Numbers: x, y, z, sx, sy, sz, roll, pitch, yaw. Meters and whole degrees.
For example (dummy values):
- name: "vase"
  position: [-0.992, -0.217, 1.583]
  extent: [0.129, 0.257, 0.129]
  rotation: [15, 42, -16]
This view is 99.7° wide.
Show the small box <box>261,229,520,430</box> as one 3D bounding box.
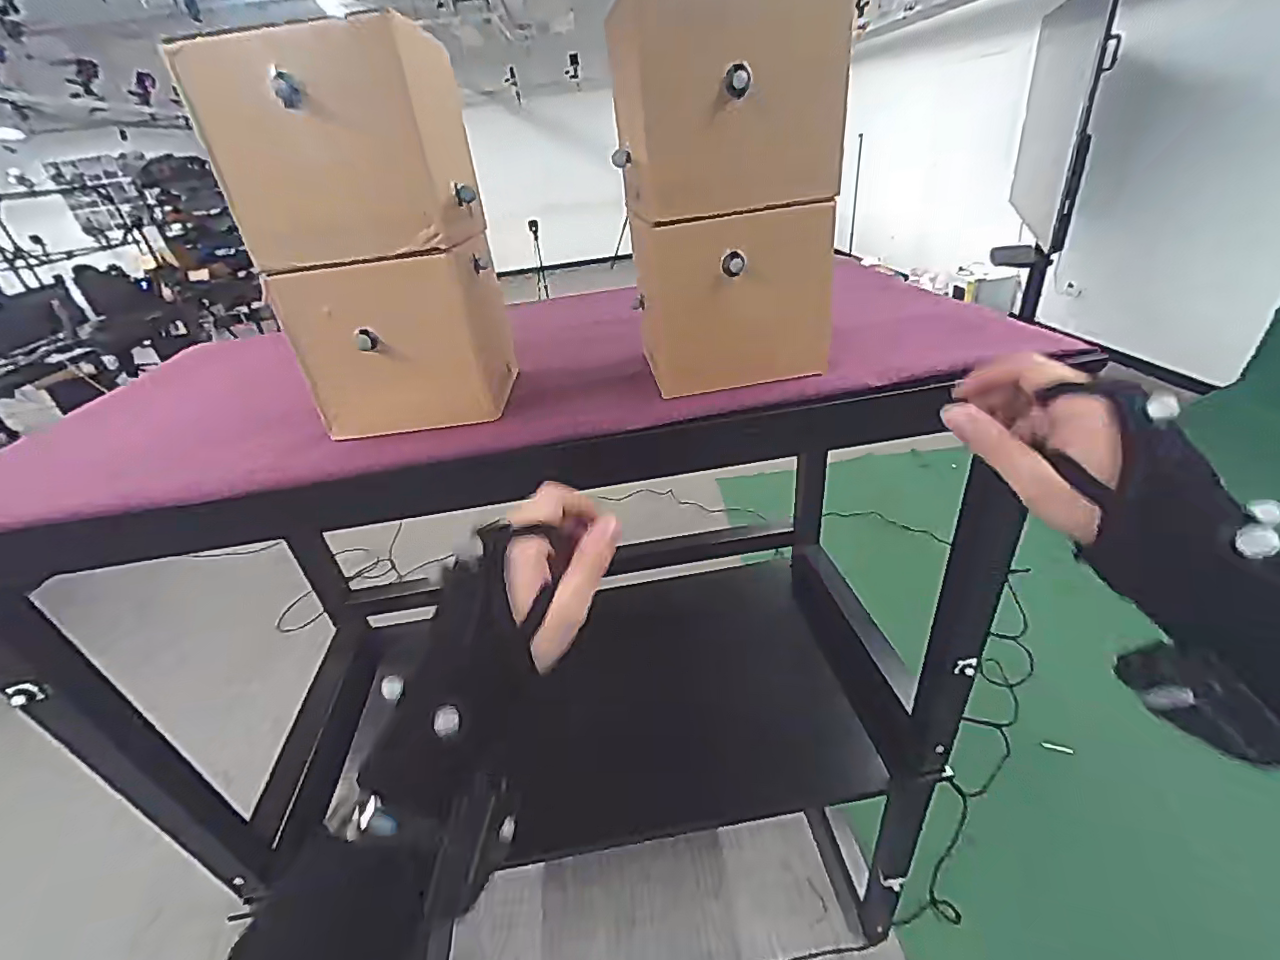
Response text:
- name: "small box"
  position: [-0.244, -0.165, 0.583]
  extent: [0.179, 0.176, 0.168]
  rotation: [-8, 31, 1]

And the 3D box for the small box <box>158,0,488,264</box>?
- name: "small box"
  position: [-0.261, -0.305, 0.500]
  extent: [0.179, 0.176, 0.168]
  rotation: [-6, 31, 2]

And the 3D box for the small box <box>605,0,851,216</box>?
- name: "small box"
  position: [0.071, -0.351, 0.495]
  extent: [0.179, 0.176, 0.168]
  rotation: [-11, 32, -3]

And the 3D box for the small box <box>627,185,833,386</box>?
- name: "small box"
  position: [0.090, -0.211, 0.580]
  extent: [0.179, 0.176, 0.168]
  rotation: [-10, 32, -2]
